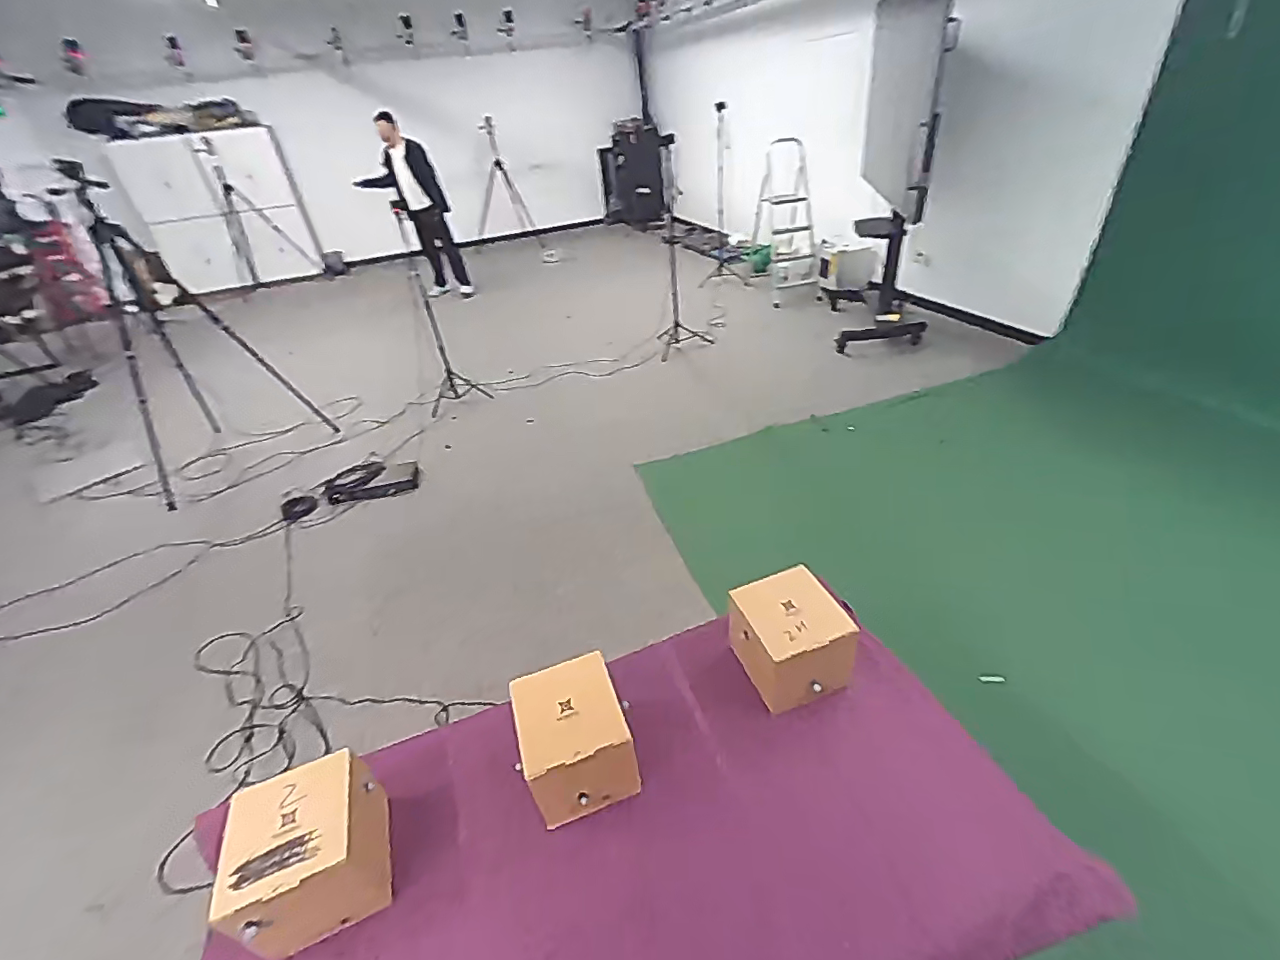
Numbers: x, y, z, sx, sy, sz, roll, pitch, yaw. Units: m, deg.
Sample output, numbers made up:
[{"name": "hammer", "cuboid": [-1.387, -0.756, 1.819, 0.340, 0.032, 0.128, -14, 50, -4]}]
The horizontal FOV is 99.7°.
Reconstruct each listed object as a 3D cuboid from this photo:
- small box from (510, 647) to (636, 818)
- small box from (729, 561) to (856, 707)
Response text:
[{"name": "small box", "cuboid": [-0.113, 0.423, 0.913, 0.168, 0.176, 0.179, -16, 38, -14]}, {"name": "small box", "cuboid": [0.279, 0.291, 1.029, 0.168, 0.176, 0.179, -17, 38, -11]}]
